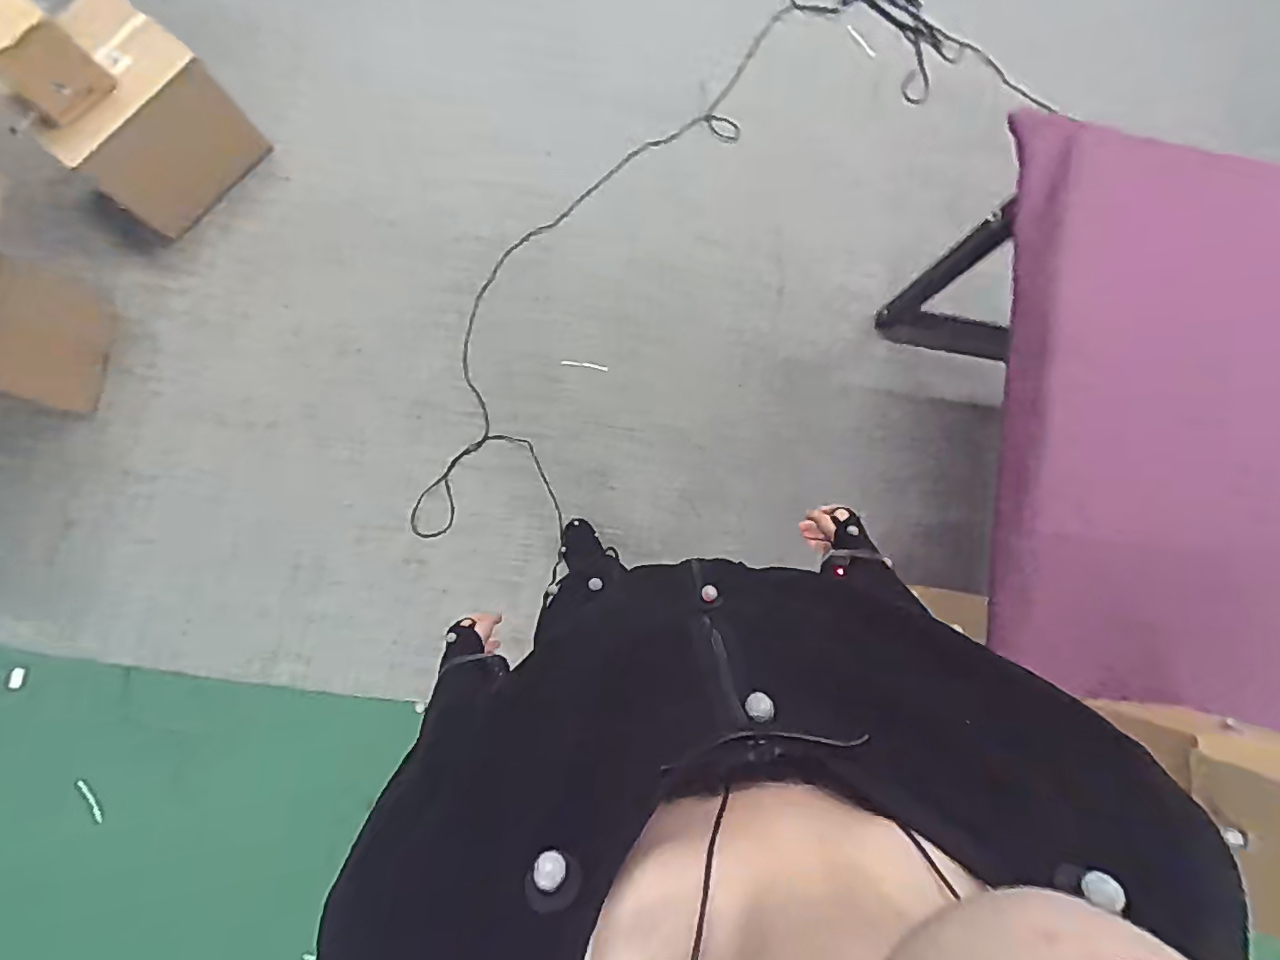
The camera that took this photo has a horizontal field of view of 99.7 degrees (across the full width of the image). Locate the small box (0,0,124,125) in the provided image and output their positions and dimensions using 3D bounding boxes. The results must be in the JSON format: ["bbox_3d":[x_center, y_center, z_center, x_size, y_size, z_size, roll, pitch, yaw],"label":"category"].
[{"bbox_3d":[-1.327,-0.943,1.193,0.179,0.176,0.168,43,83,3],"label":"small box"}]

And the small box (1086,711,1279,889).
[{"bbox_3d":[0.742,0.416,0.710,0.179,0.176,0.168,7,82,-3],"label":"small box"}]

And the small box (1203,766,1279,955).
[{"bbox_3d":[0.739,0.409,0.545,0.179,0.176,0.168,7,81,-3],"label":"small box"}]

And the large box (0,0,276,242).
[{"bbox_3d":[-1.306,-0.940,1.440,0.320,0.320,0.408,39,81,2],"label":"large box"}]
